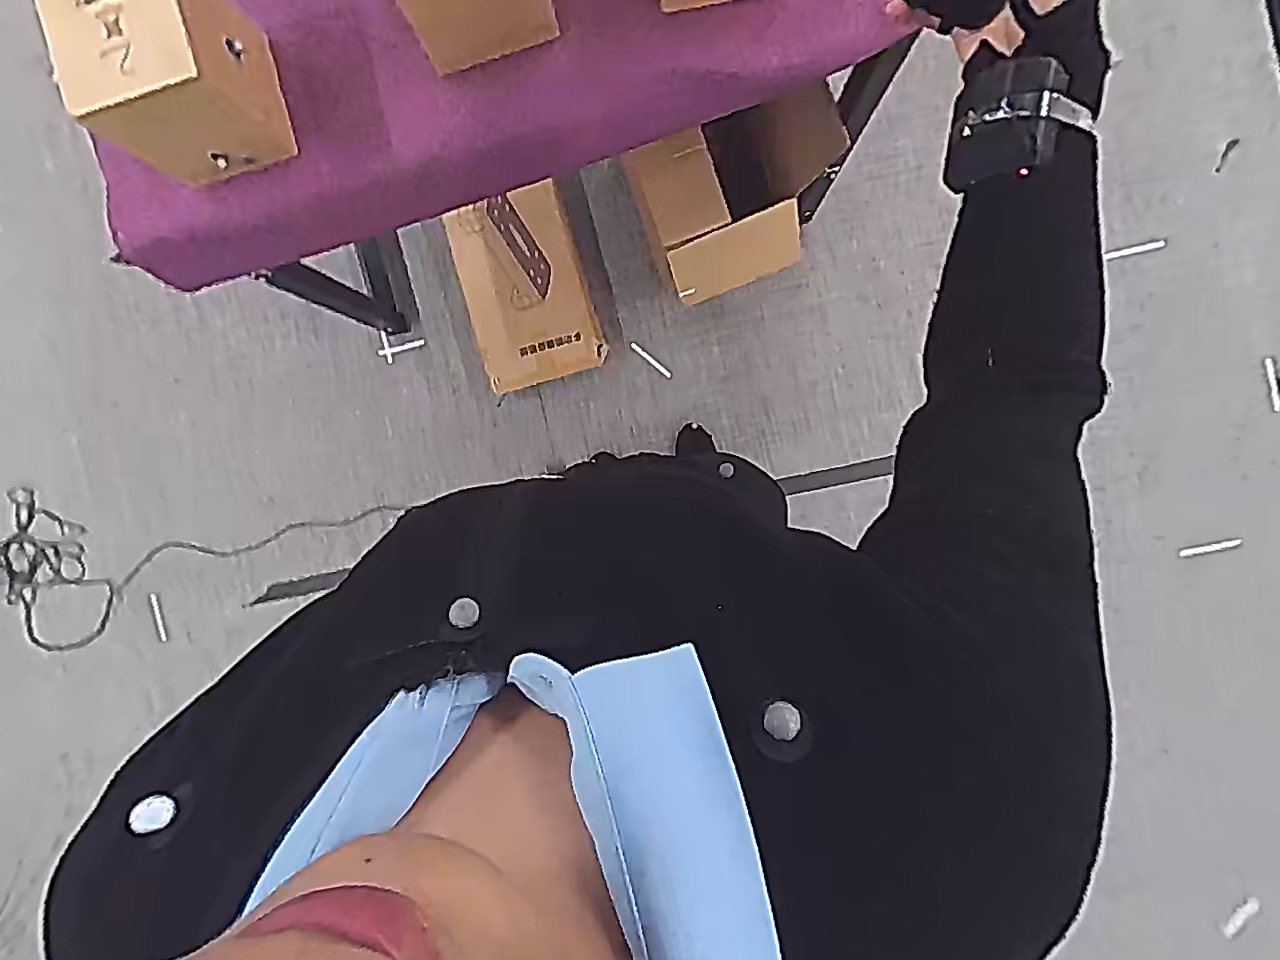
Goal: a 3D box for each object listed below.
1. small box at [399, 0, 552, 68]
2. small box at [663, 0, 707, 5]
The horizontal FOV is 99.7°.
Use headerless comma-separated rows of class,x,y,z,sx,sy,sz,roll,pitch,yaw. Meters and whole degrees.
small box,-0.214,-0.654,0.652,0.179,0.176,0.168,-15,90,4
small box,0.098,-0.712,0.633,0.179,0.176,0.168,-8,92,3
